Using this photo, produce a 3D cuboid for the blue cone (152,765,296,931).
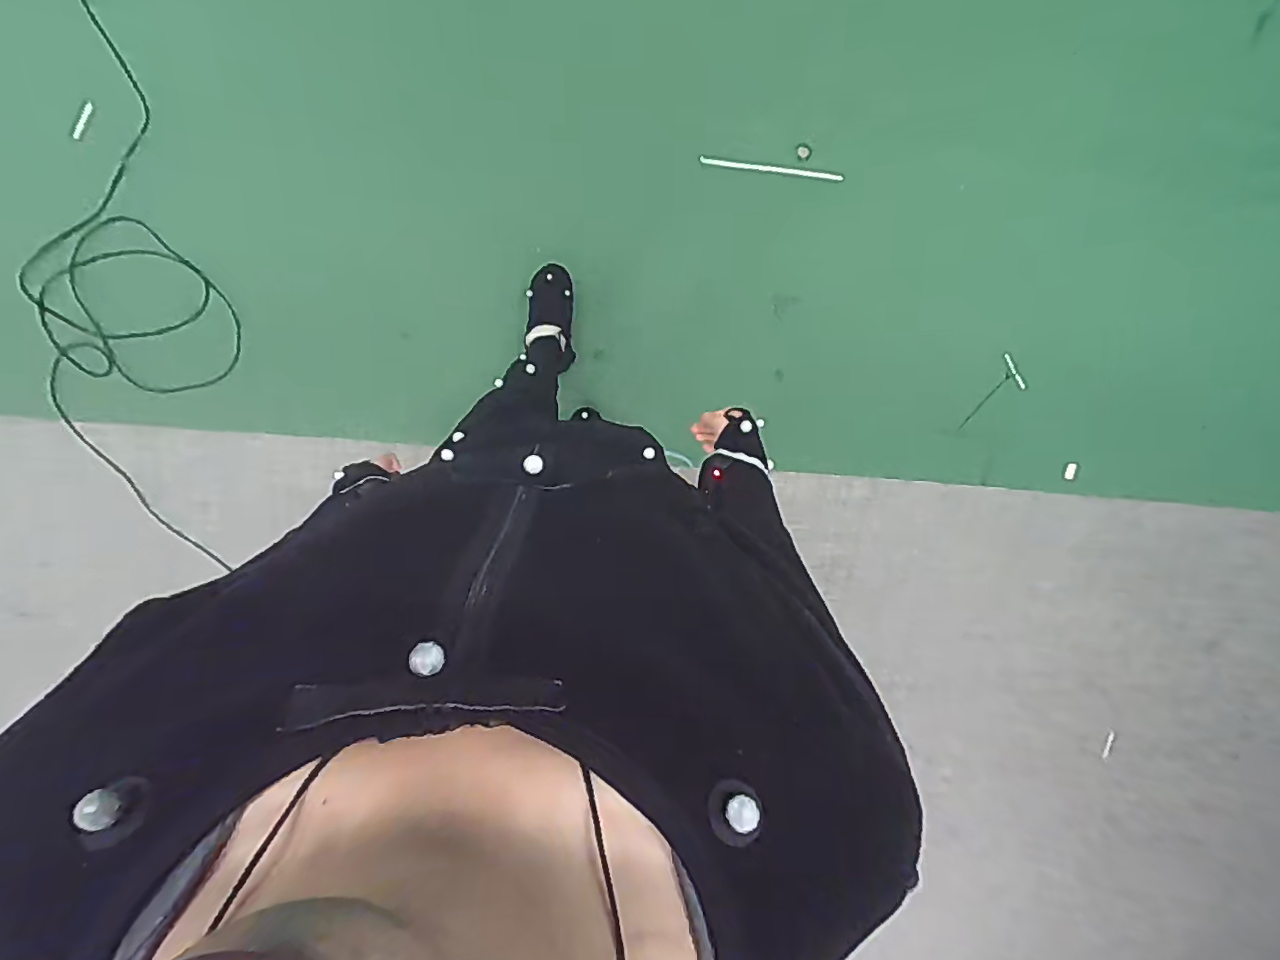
[{"bbox_3d":[-1.108,0.976,1.417,0.193,0.380,0.192,-39,105,6],"label":"blue cone"}]
